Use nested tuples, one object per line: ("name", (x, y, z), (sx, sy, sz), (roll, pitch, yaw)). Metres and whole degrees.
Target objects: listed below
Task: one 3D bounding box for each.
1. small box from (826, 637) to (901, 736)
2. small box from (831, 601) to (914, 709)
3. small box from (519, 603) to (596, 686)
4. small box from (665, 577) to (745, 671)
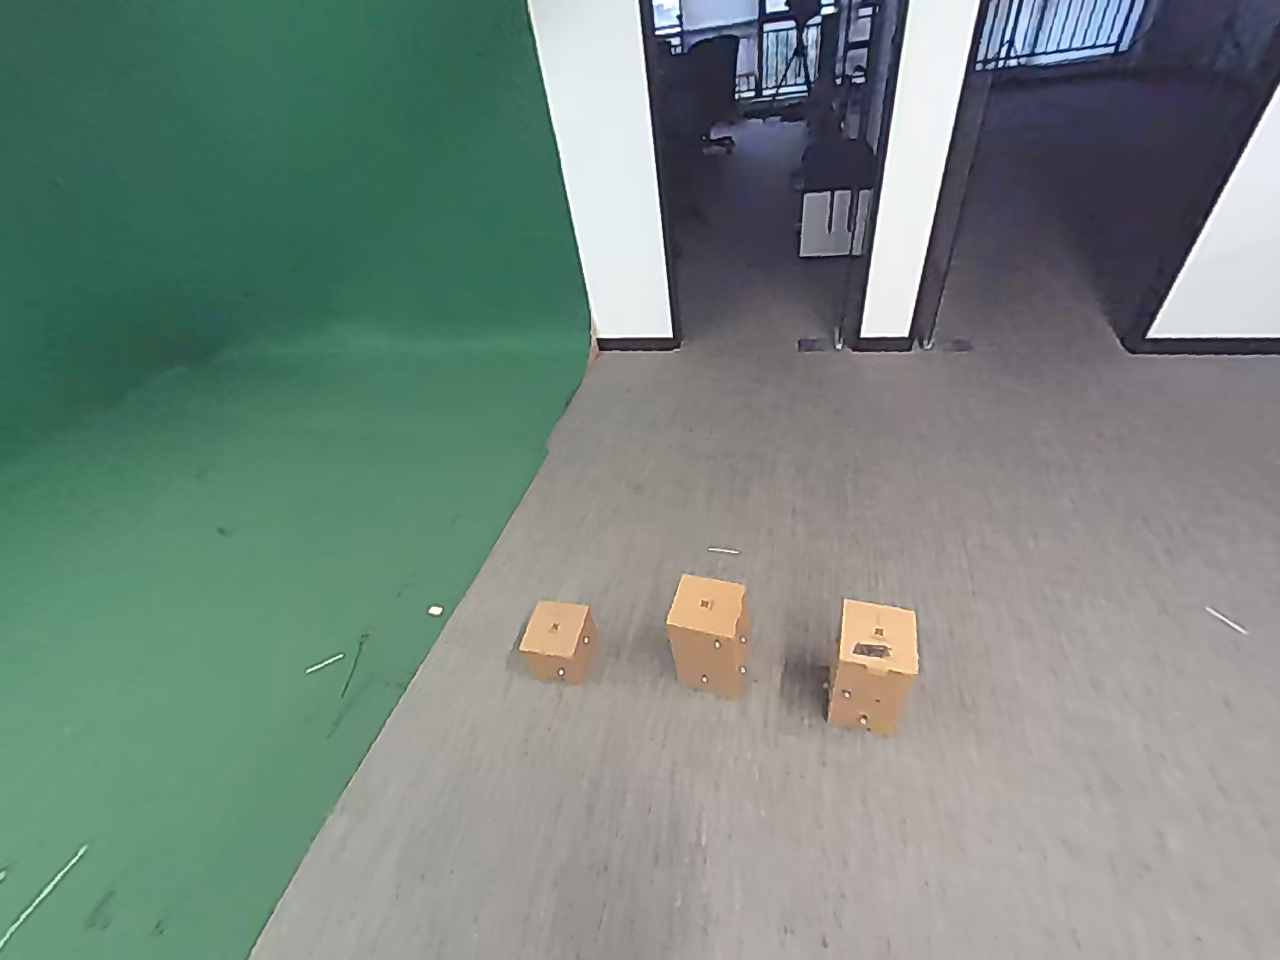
("small box", (0.587, 0.546, 1.428), (0.168, 0.176, 0.179), (6, 44, 18))
("small box", (0.562, 0.426, 1.317), (0.168, 0.176, 0.179), (7, 43, 19))
("small box", (-0.241, 0.503, 1.646), (0.168, 0.176, 0.179), (4, 42, 14))
("small box", (0.179, 0.385, 1.443), (0.179, 0.176, 0.168), (7, 43, 19))
